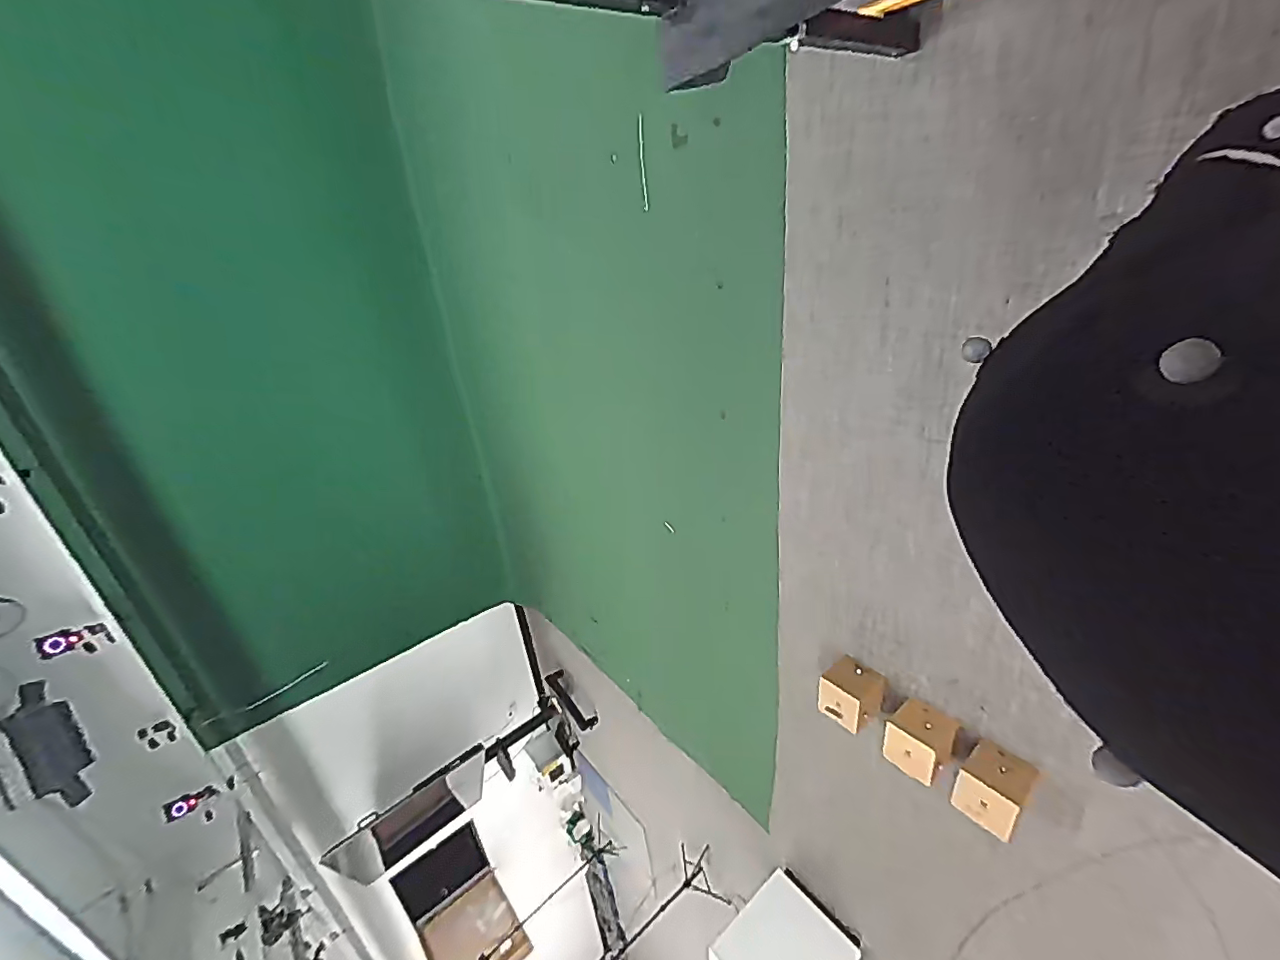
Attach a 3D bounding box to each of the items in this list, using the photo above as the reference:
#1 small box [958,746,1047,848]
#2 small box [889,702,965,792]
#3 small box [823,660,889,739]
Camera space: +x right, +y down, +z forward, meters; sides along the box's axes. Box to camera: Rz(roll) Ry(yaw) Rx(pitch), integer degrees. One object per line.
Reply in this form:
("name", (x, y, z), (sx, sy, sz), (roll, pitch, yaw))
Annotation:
("small box", (1.115, 0.965, 1.661), (0.168, 0.176, 0.179), (26, 130, 47))
("small box", (0.973, 0.896, 1.832), (0.168, 0.176, 0.179), (24, 129, 48))
("small box", (0.809, 0.816, 2.021), (0.168, 0.176, 0.179), (25, 128, 47))
